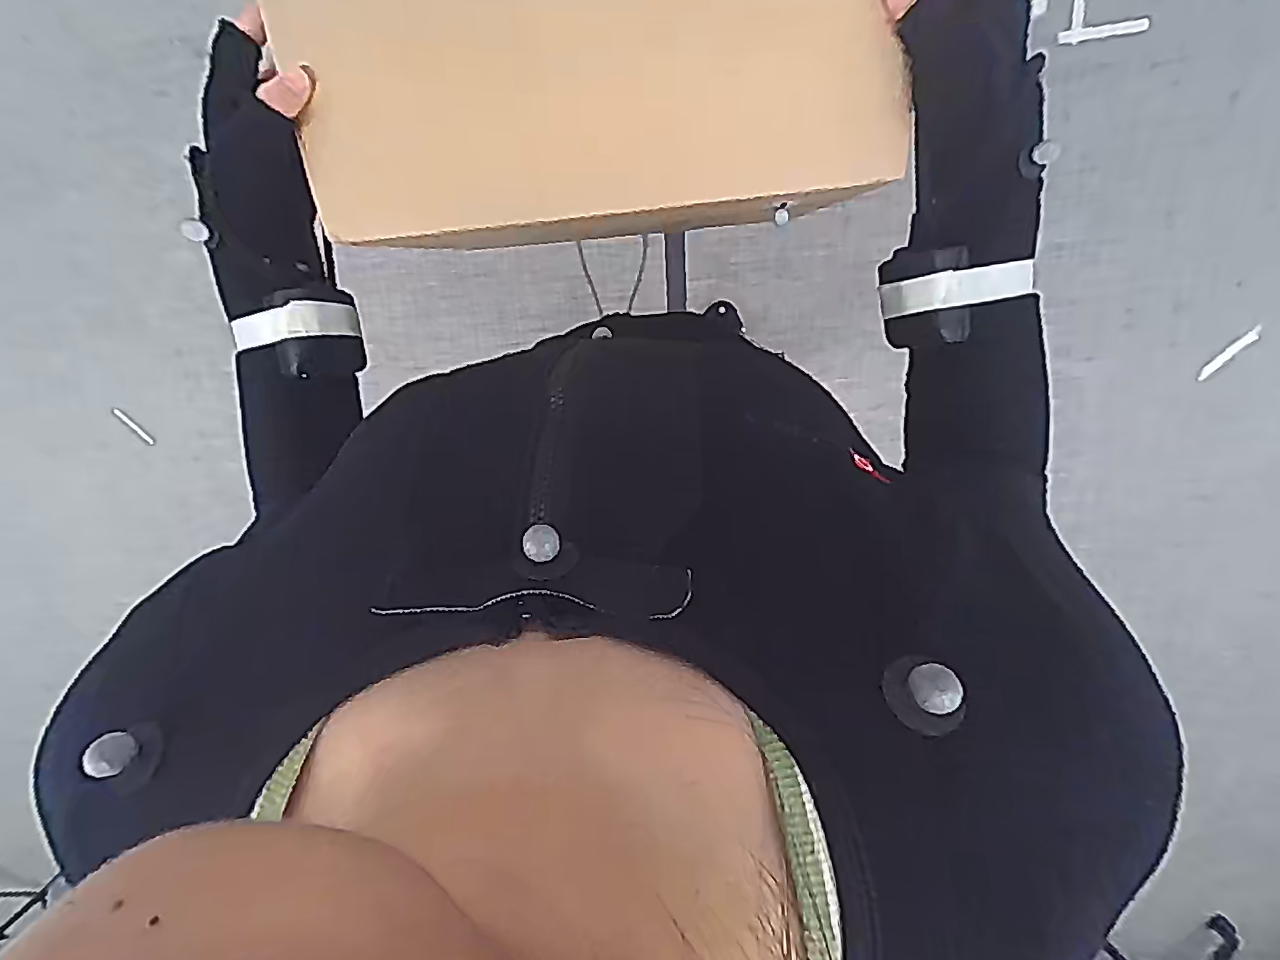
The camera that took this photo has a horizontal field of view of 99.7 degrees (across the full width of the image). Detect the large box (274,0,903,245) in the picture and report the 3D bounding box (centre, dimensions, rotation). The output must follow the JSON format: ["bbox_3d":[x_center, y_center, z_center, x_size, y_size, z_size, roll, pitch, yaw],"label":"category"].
[{"bbox_3d":[-0.031,-0.390,0.465,0.408,0.320,0.320,-4,112,5],"label":"large box"}]
